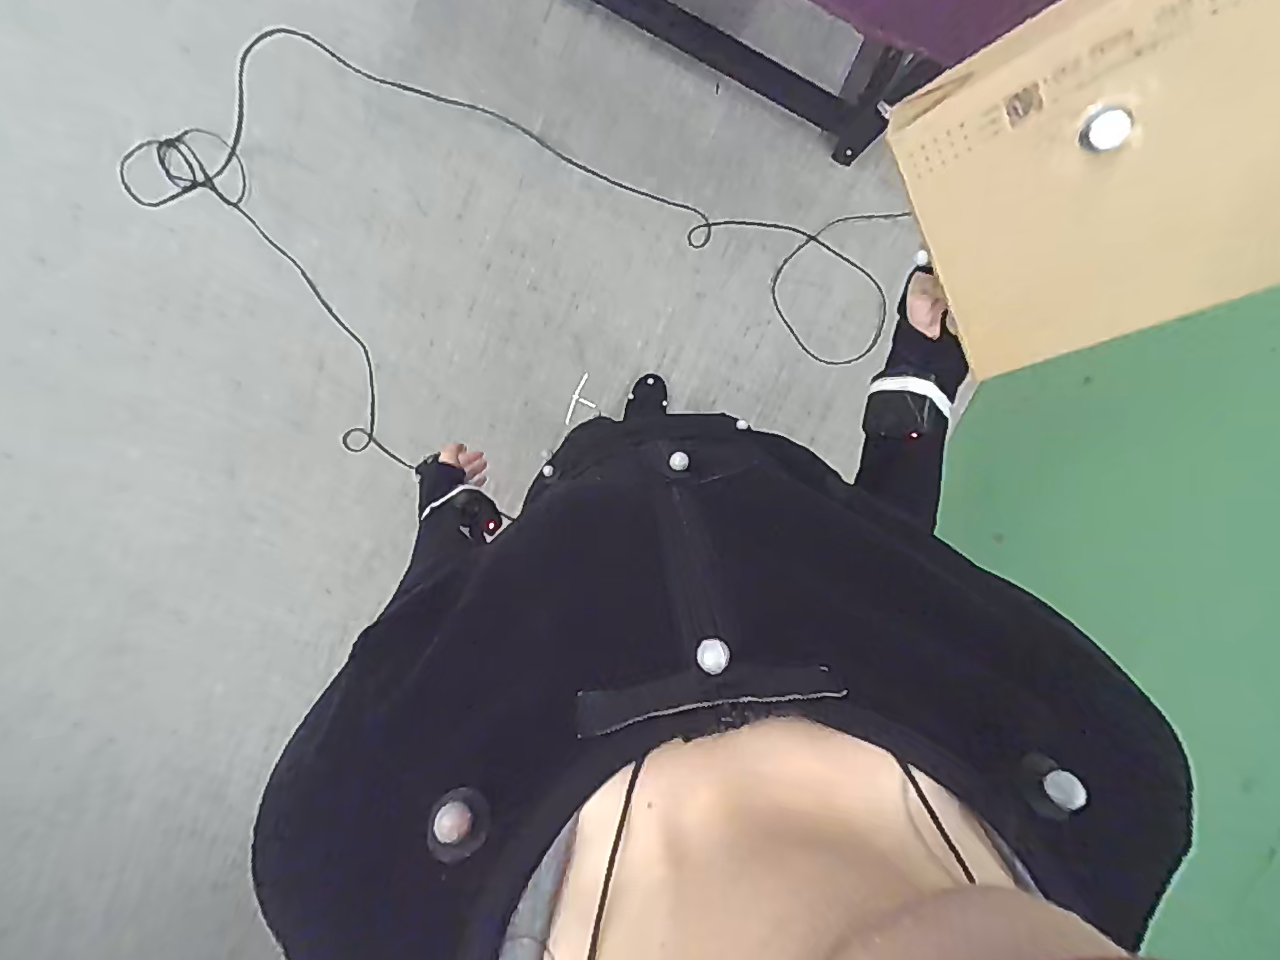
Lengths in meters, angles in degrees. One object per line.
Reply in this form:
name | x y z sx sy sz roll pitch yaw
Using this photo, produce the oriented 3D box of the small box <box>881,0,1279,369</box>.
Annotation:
small box | 0.271 -0.207 0.349 0.168 0.179 0.176 -20 114 36
